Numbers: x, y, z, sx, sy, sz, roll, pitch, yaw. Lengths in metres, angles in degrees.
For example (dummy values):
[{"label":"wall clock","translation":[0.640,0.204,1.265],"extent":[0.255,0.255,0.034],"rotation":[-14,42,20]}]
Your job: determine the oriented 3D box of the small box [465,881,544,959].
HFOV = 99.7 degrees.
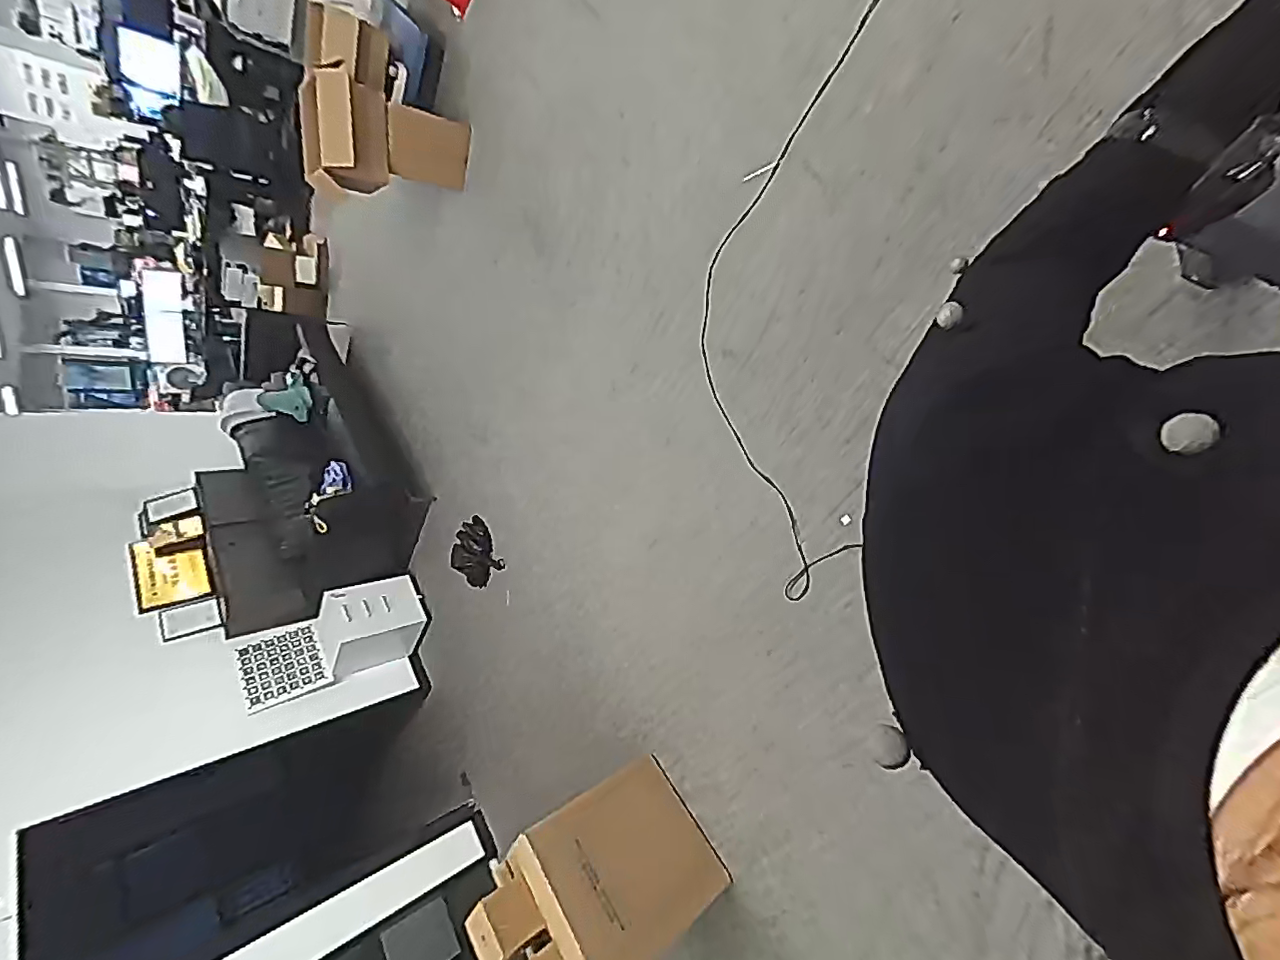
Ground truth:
[{"label":"small box","translation":[-0.443,1.482,1.782],"extent":[0.179,0.176,0.168],"rotation":[46,119,34]}]
